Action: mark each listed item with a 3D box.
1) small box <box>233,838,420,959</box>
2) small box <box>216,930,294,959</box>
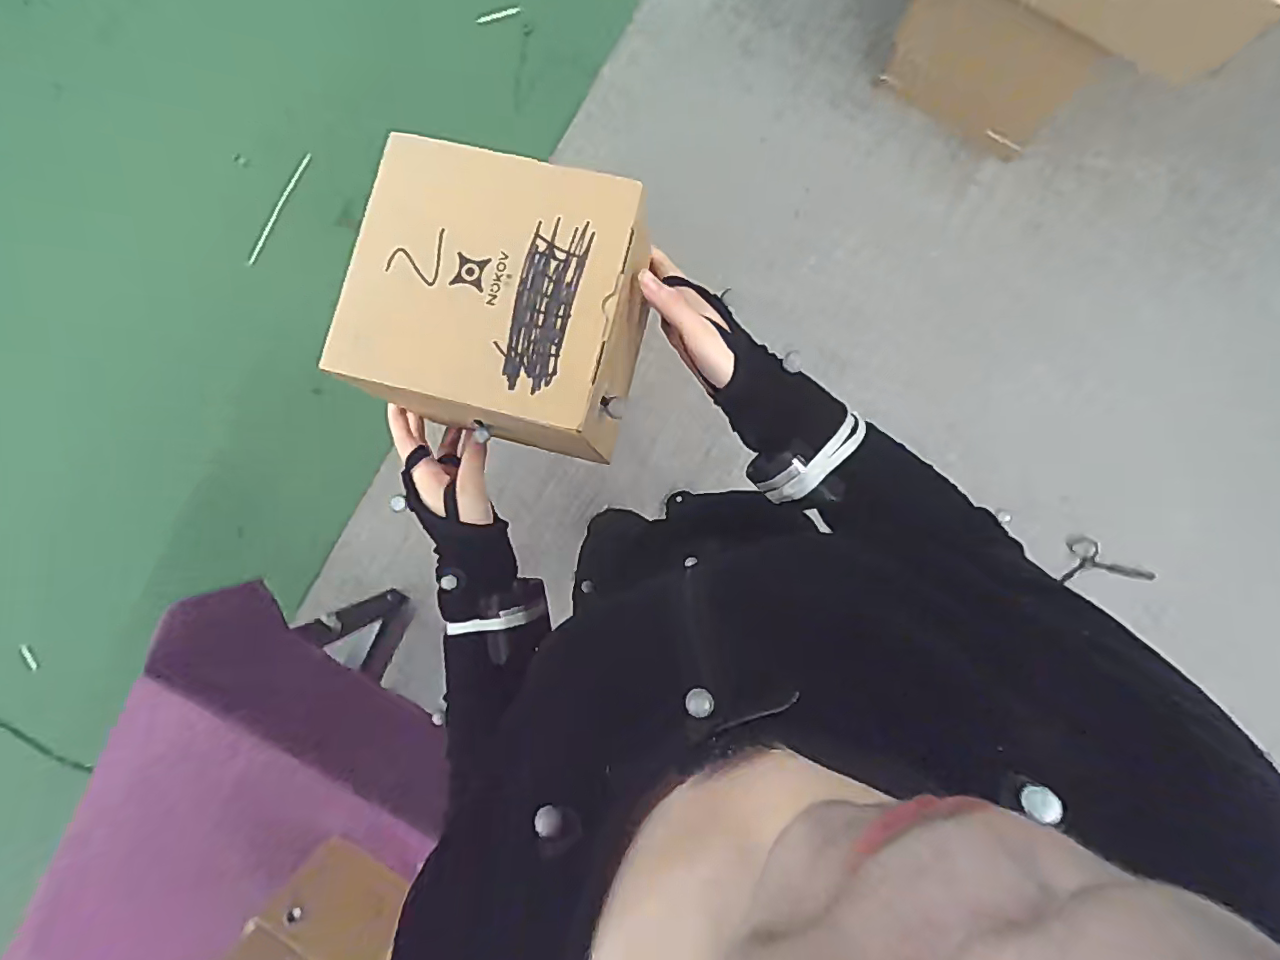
[{"bbox_3d":[-0.442,0.647,0.745,0.179,0.176,0.168,30,93,5],"label":"small box"},{"bbox_3d":[-0.460,0.655,0.581,0.168,0.176,0.179,32,94,5],"label":"small box"}]
